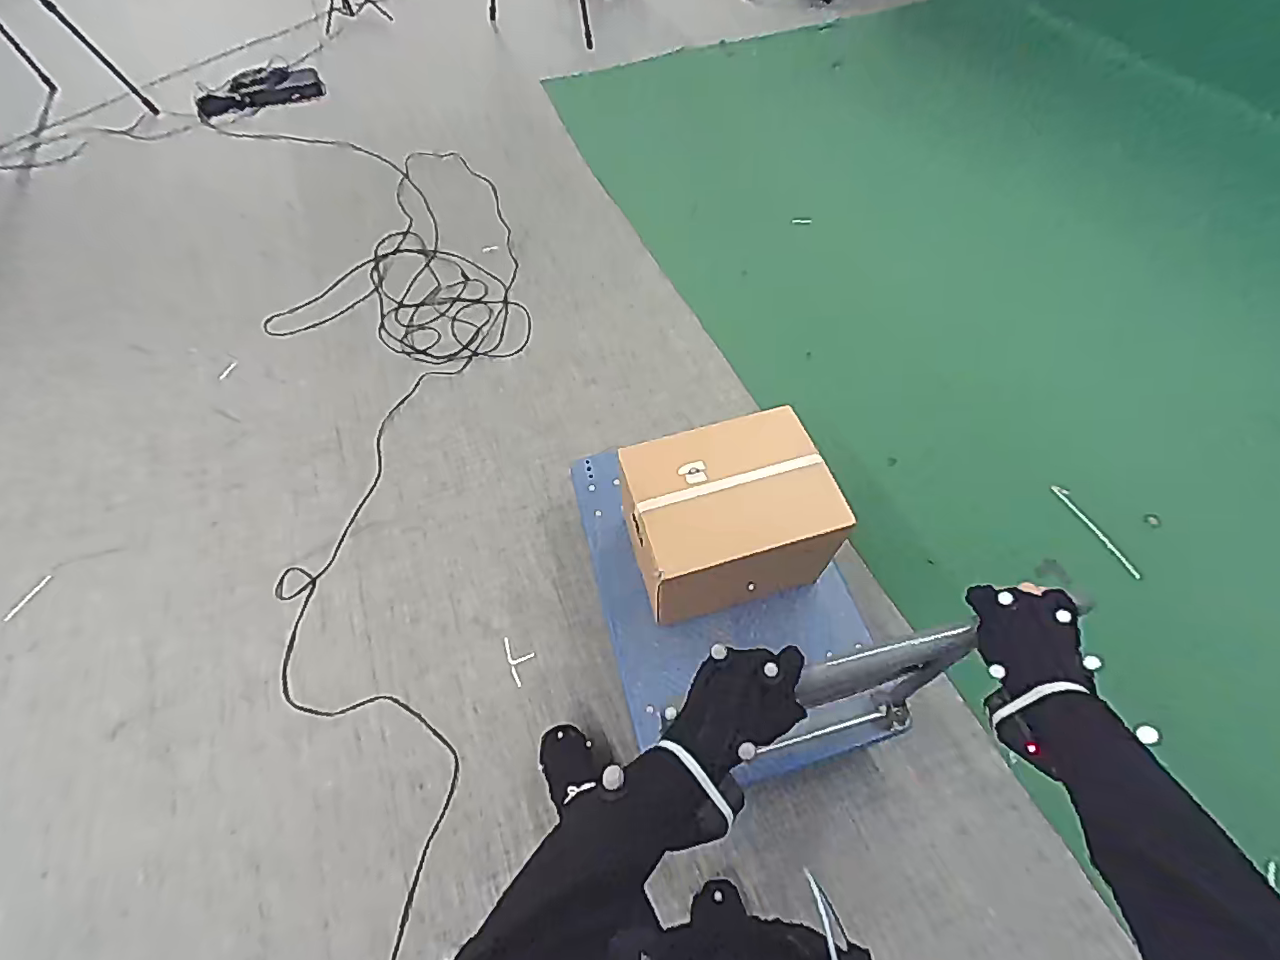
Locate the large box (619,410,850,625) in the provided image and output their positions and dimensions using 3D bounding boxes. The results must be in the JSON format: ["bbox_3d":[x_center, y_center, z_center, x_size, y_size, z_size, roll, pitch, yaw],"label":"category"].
[{"bbox_3d":[0.193,0.095,1.243,0.408,0.320,0.320,-15,59,-7],"label":"large box"}]
